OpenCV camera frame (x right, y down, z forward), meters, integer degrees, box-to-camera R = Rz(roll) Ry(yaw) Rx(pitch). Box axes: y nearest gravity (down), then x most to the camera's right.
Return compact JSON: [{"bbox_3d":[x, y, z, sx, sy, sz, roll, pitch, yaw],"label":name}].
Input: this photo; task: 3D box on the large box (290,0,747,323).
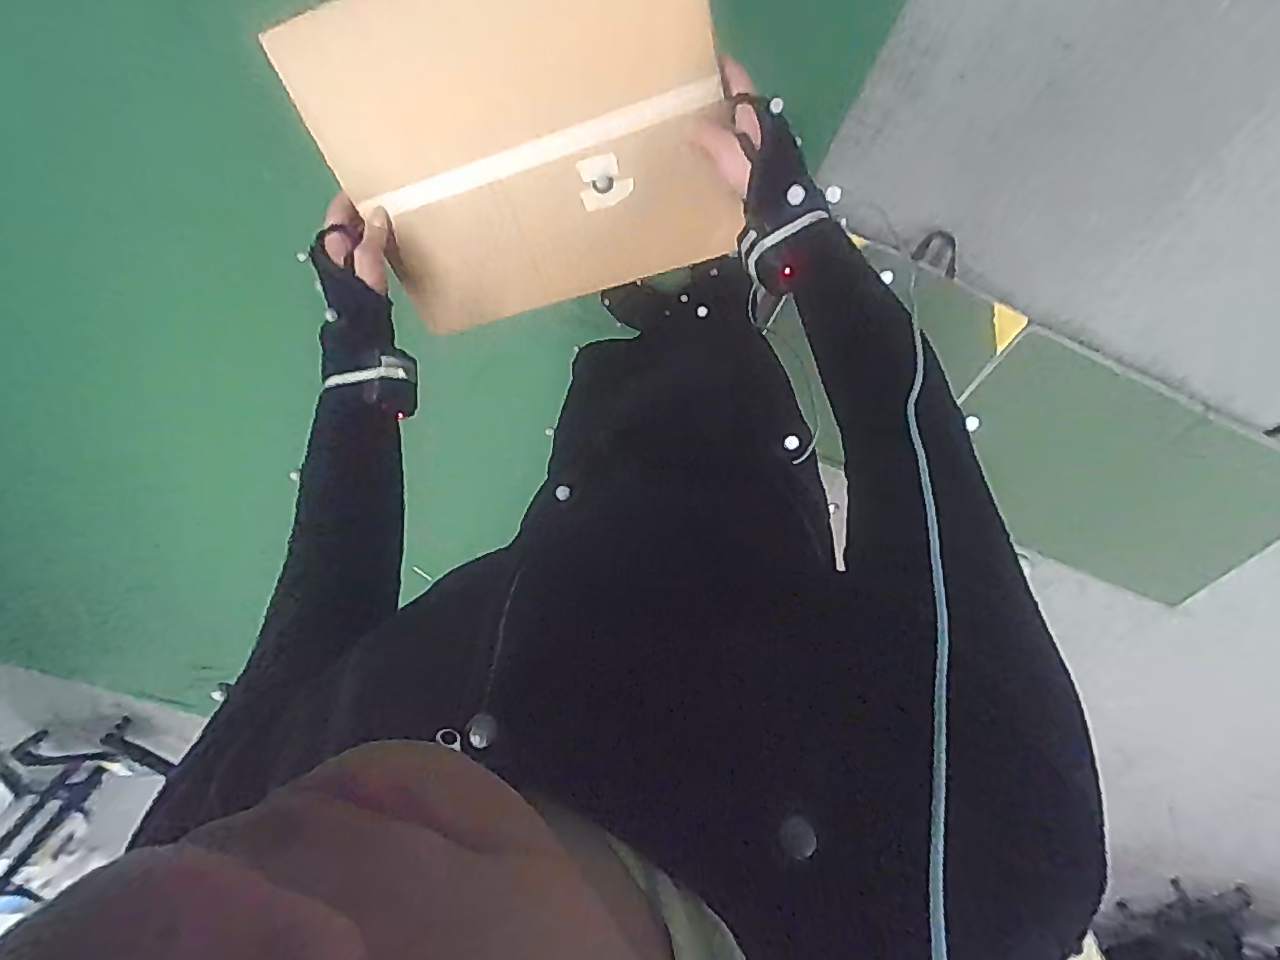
[{"bbox_3d":[-0.104,-0.446,0.680,0.408,0.320,0.320,-11,130,10],"label":"large box"}]
